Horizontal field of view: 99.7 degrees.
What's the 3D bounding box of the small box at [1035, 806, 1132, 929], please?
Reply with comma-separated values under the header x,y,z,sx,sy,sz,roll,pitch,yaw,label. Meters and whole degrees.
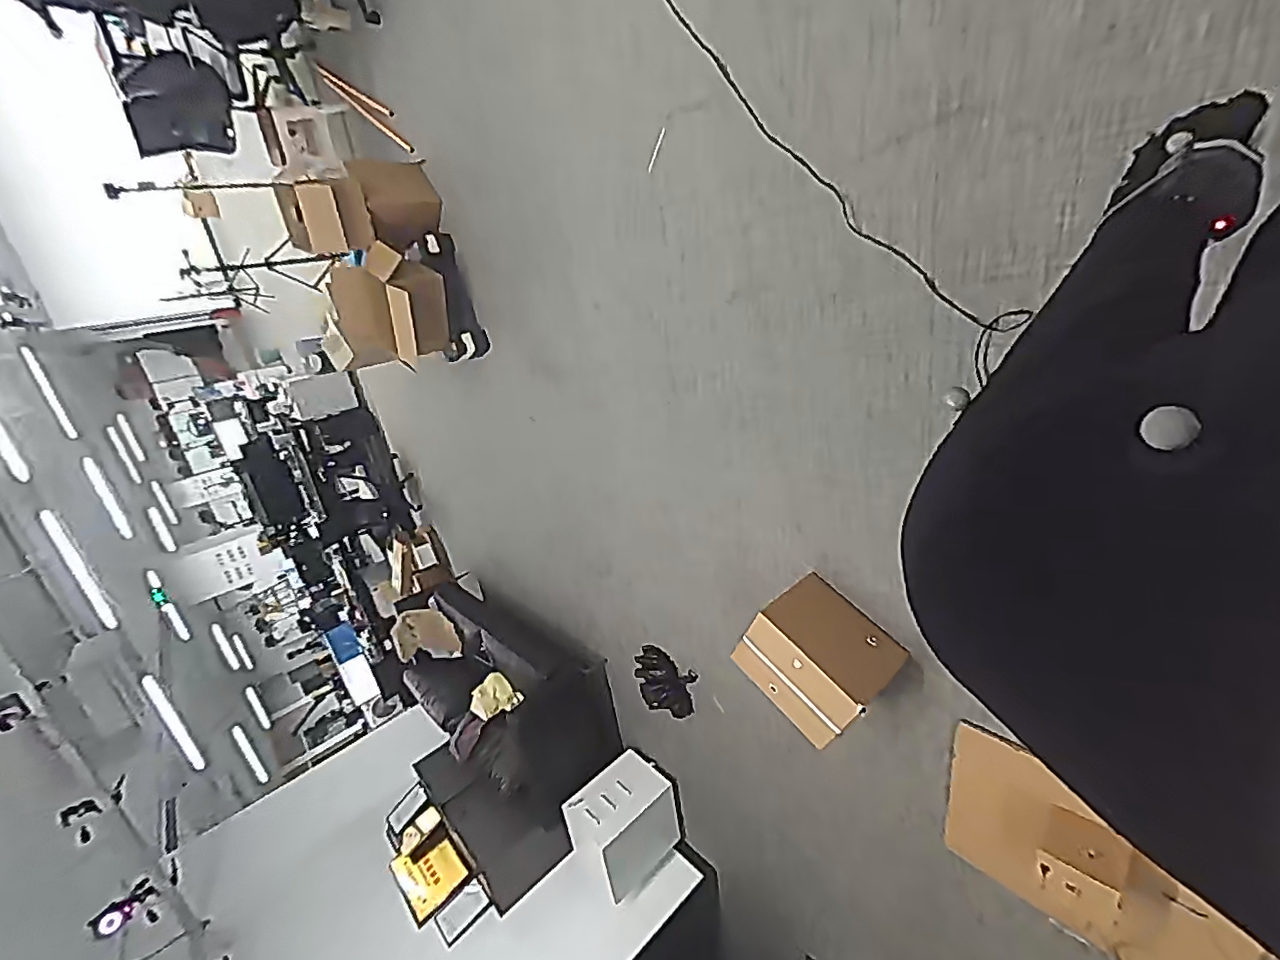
x,y,z,sx,sy,sz,roll,pitch,yaw,label
1.194,1.029,1.455,0.179,0.176,0.168,10,120,48,small box
